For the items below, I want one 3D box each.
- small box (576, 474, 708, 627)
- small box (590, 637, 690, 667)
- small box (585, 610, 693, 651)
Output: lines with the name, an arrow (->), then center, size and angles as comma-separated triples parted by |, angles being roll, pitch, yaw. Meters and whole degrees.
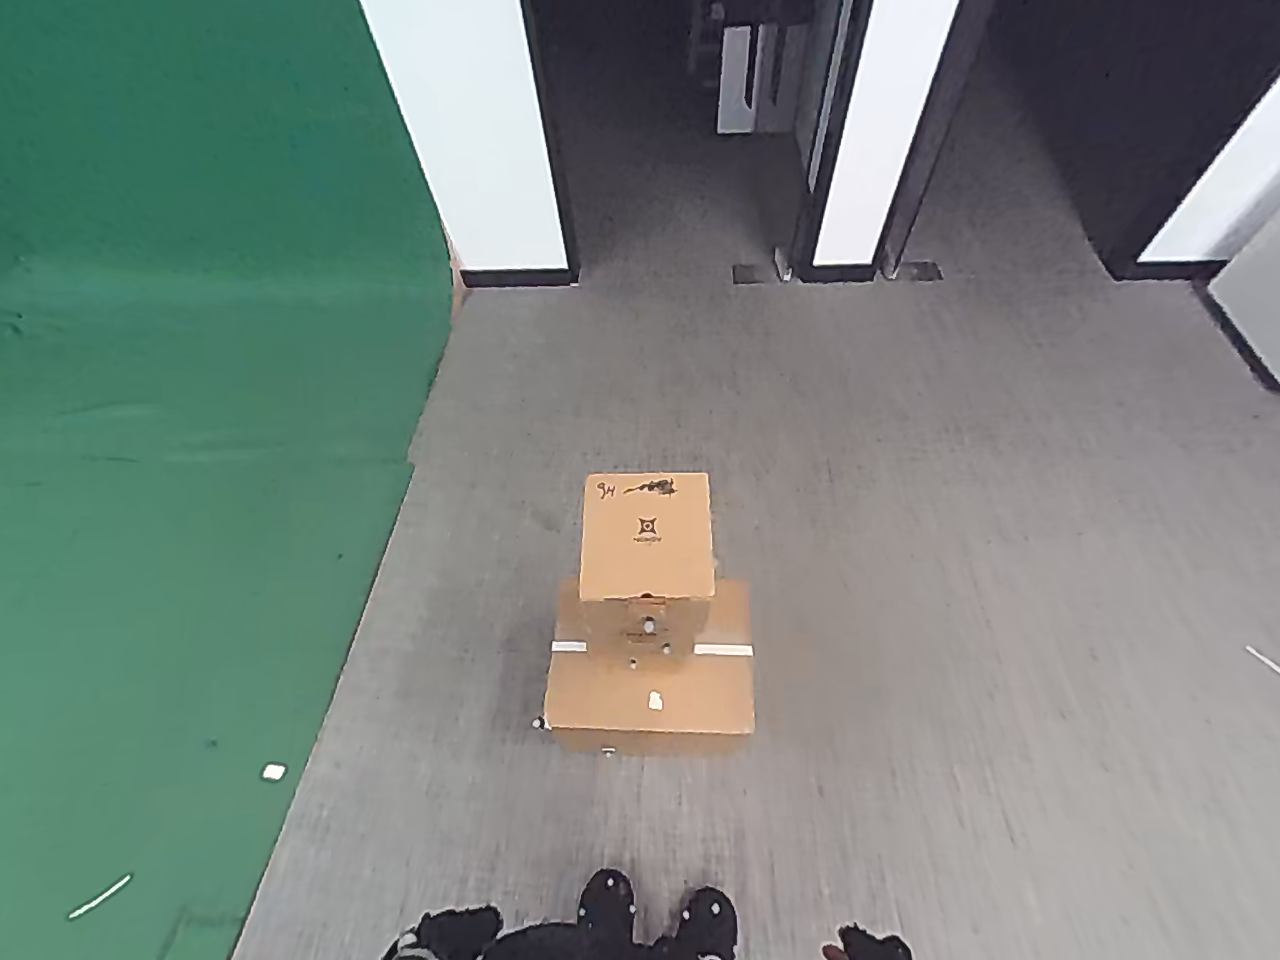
small box -> 0.009, 0.106, 0.763 | 0.168, 0.176, 0.179 | -1, 62, 3
small box -> 0.006, 0.264, 1.048 | 0.179, 0.176, 0.168 | 1, 62, 4
small box -> 0.004, 0.185, 0.907 | 0.168, 0.176, 0.179 | -1, 61, 2
